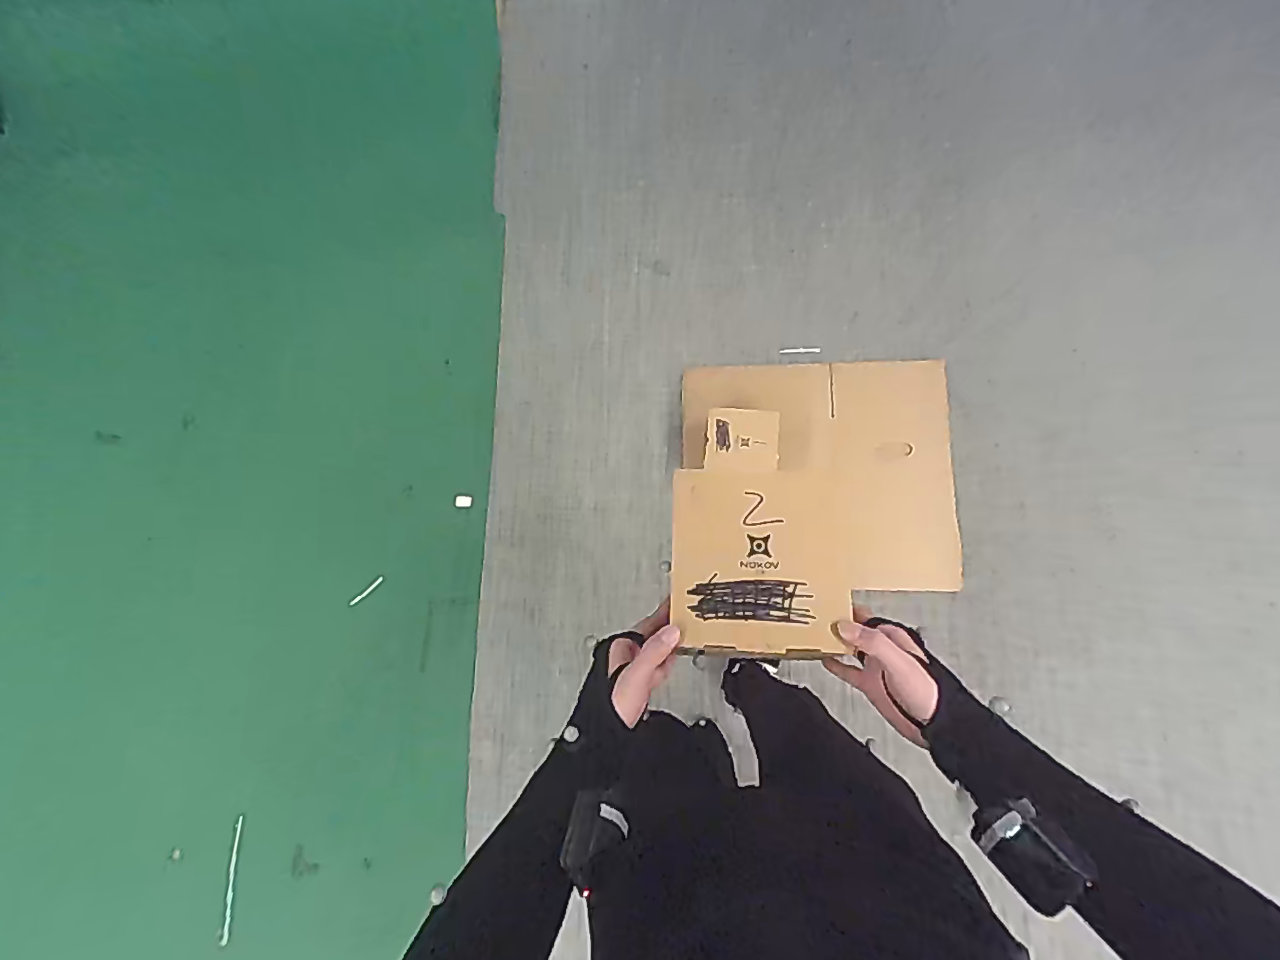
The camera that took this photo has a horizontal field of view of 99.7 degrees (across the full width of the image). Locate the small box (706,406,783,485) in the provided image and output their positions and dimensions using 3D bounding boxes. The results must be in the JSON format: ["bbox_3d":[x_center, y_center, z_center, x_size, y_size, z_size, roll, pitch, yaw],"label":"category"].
[{"bbox_3d":[0.263,-0.083,1.383,0.179,0.176,0.168,4,82,8],"label":"small box"}]
